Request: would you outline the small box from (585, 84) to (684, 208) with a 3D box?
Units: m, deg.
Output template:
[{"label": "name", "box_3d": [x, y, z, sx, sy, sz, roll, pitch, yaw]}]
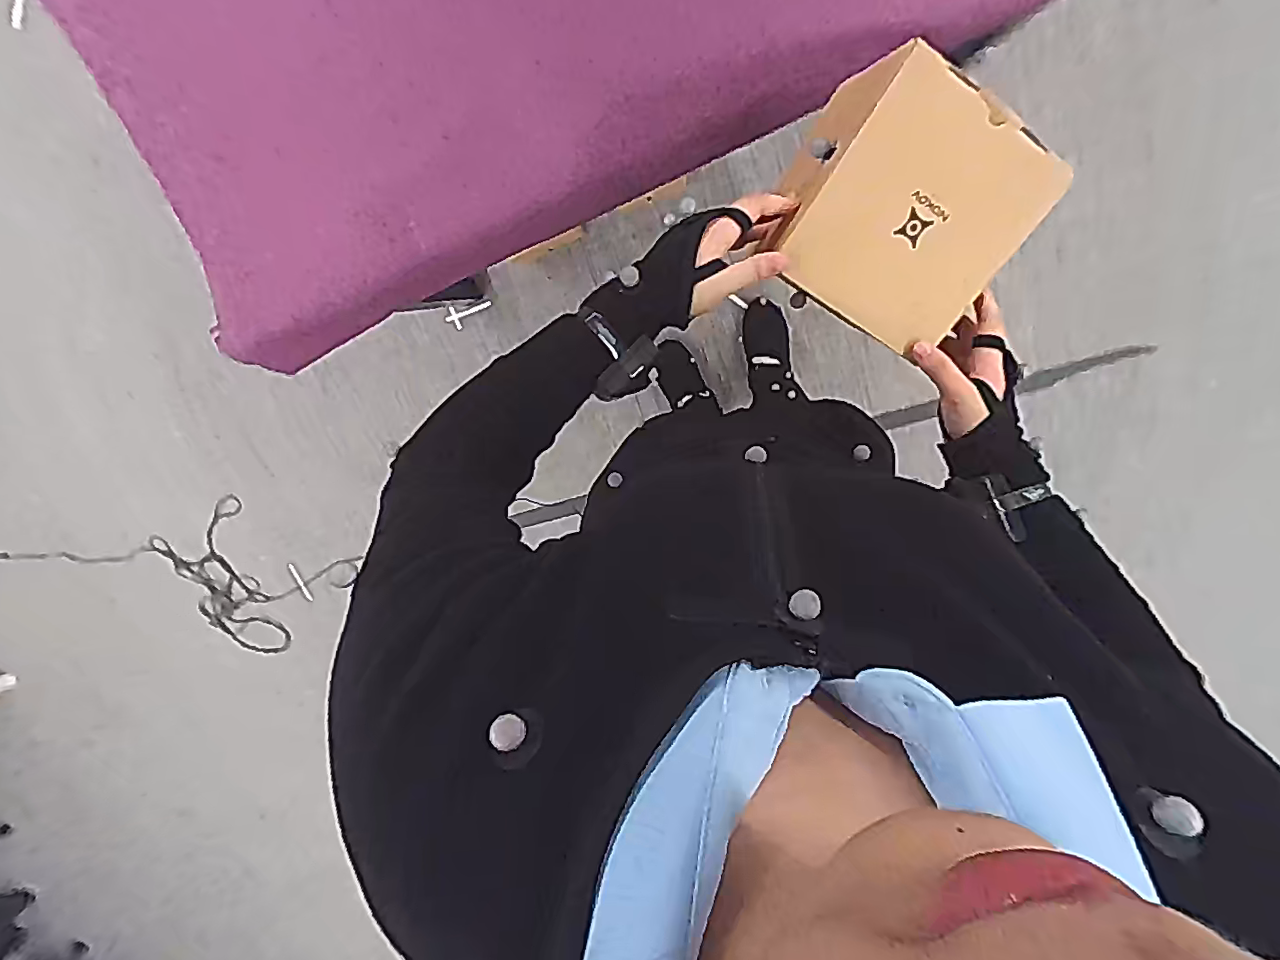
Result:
[{"label": "small box", "box_3d": [-0.003, -0.722, 1.197, 0.168, 0.176, 0.179, -17, 107, 11]}]

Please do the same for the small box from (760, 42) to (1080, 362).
[{"label": "small box", "box_3d": [0.230, -0.242, 0.504, 0.168, 0.176, 0.179, 29, 112, -12]}]
